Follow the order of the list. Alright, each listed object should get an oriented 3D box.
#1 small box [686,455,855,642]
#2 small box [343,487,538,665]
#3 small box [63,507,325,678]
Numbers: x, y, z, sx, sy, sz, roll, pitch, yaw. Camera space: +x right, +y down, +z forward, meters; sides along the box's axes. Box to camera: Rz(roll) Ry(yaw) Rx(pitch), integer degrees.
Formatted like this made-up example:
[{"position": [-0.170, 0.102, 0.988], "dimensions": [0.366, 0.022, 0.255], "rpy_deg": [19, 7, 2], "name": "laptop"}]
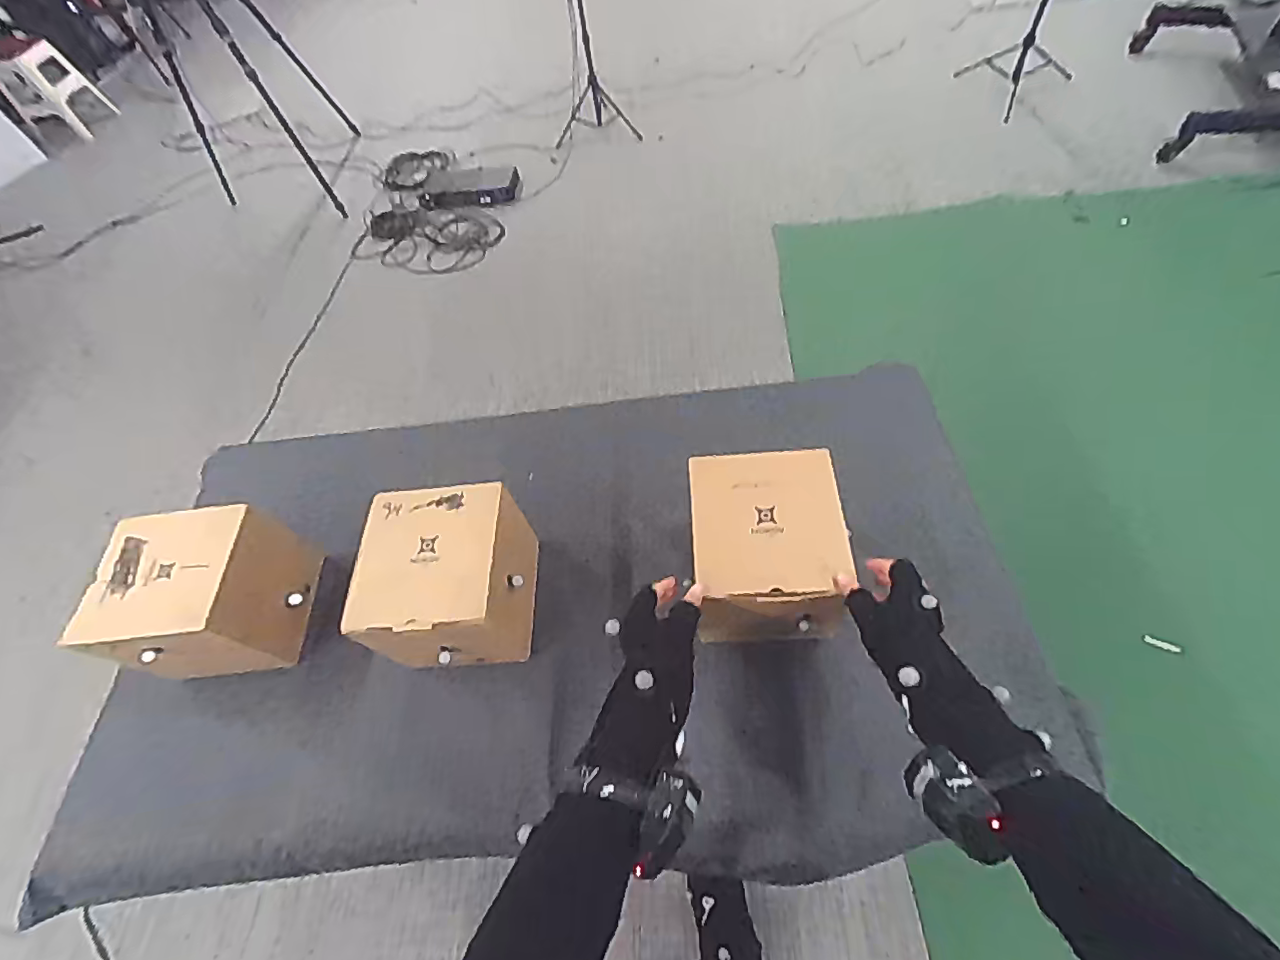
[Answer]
[{"position": [0.146, 0.092, 0.662], "dimensions": [0.168, 0.176, 0.179], "rpy_deg": [-4, 57, 5], "name": "small box"}, {"position": [-0.234, 0.130, 0.687], "dimensions": [0.168, 0.176, 0.179], "rpy_deg": [-5, 58, 5], "name": "small box"}, {"position": [-0.564, 0.154, 0.715], "dimensions": [0.179, 0.176, 0.168], "rpy_deg": [-7, 57, 2], "name": "small box"}]
